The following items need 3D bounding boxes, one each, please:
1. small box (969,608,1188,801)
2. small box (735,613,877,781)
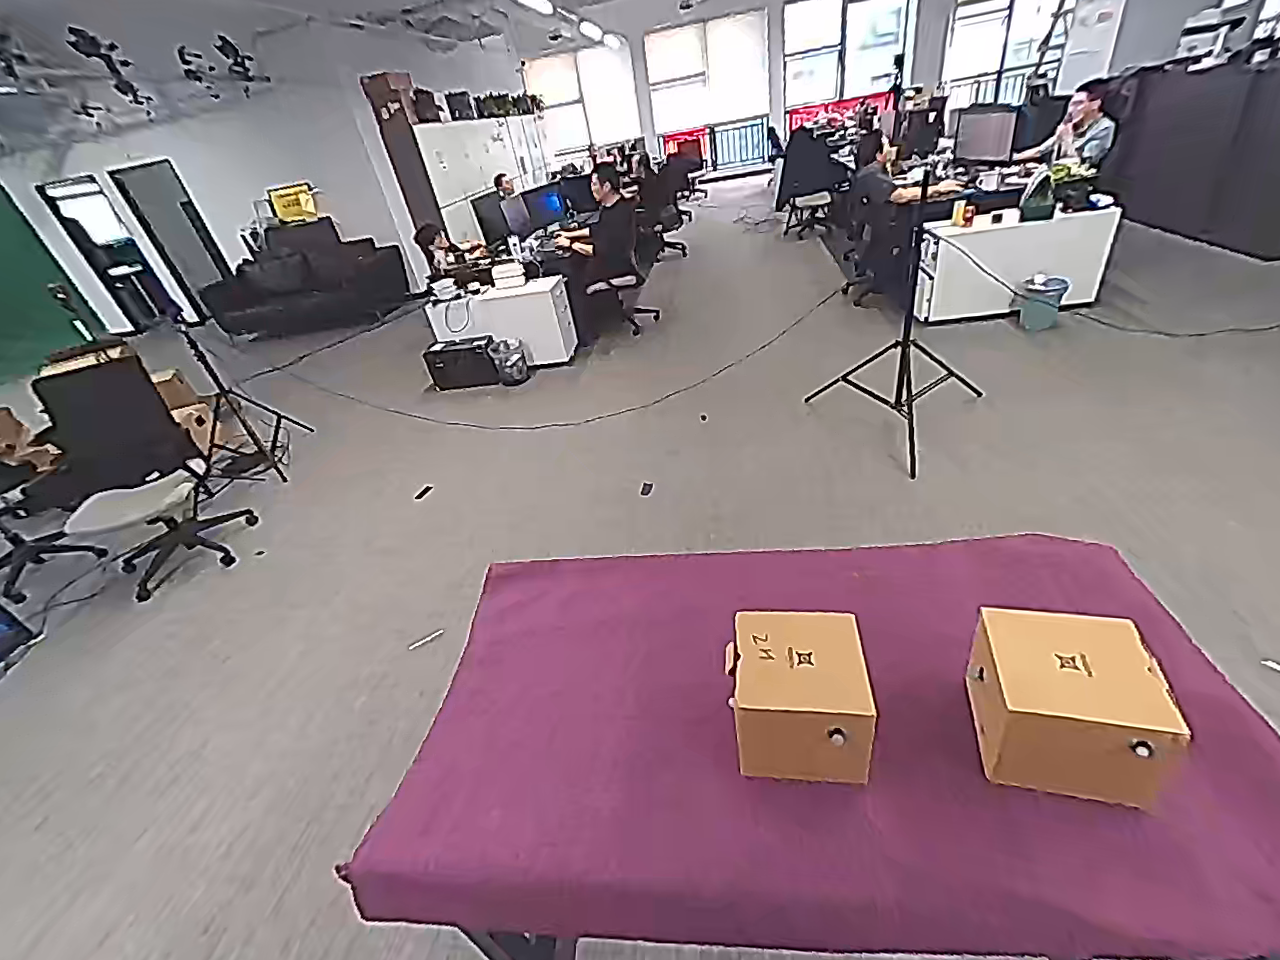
[{"bbox_3d":[0.556,0.295,0.722,0.179,0.176,0.168,1,35,19],"label":"small box"},{"bbox_3d":[0.234,0.315,0.792,0.179,0.176,0.168,-3,33,13],"label":"small box"}]
